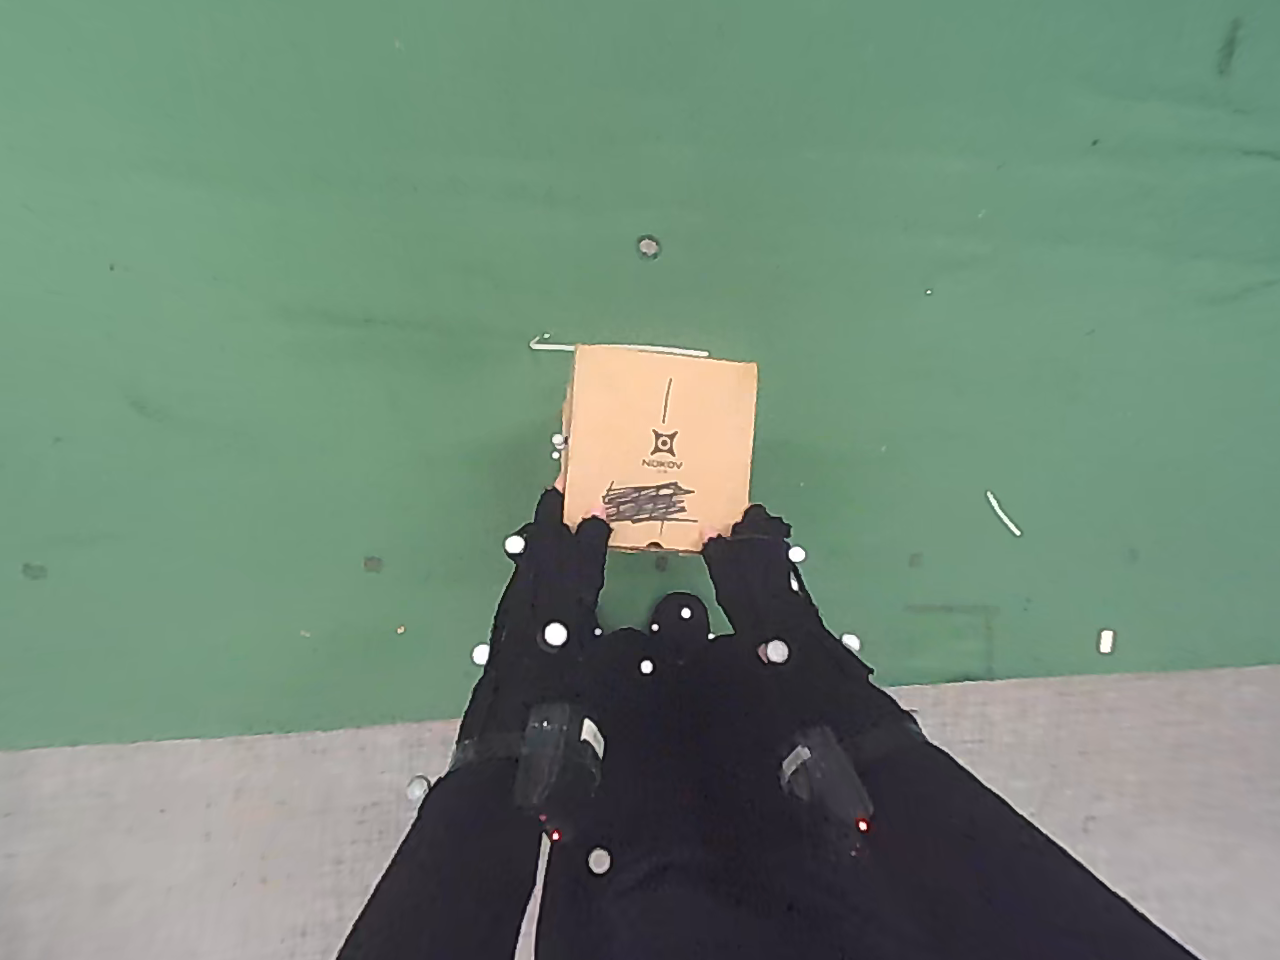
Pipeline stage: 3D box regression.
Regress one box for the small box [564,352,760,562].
[{"bbox_3d":[0.011,-0.019,0.557,0.168,0.176,0.179,4,89,-8],"label":"small box"}]
